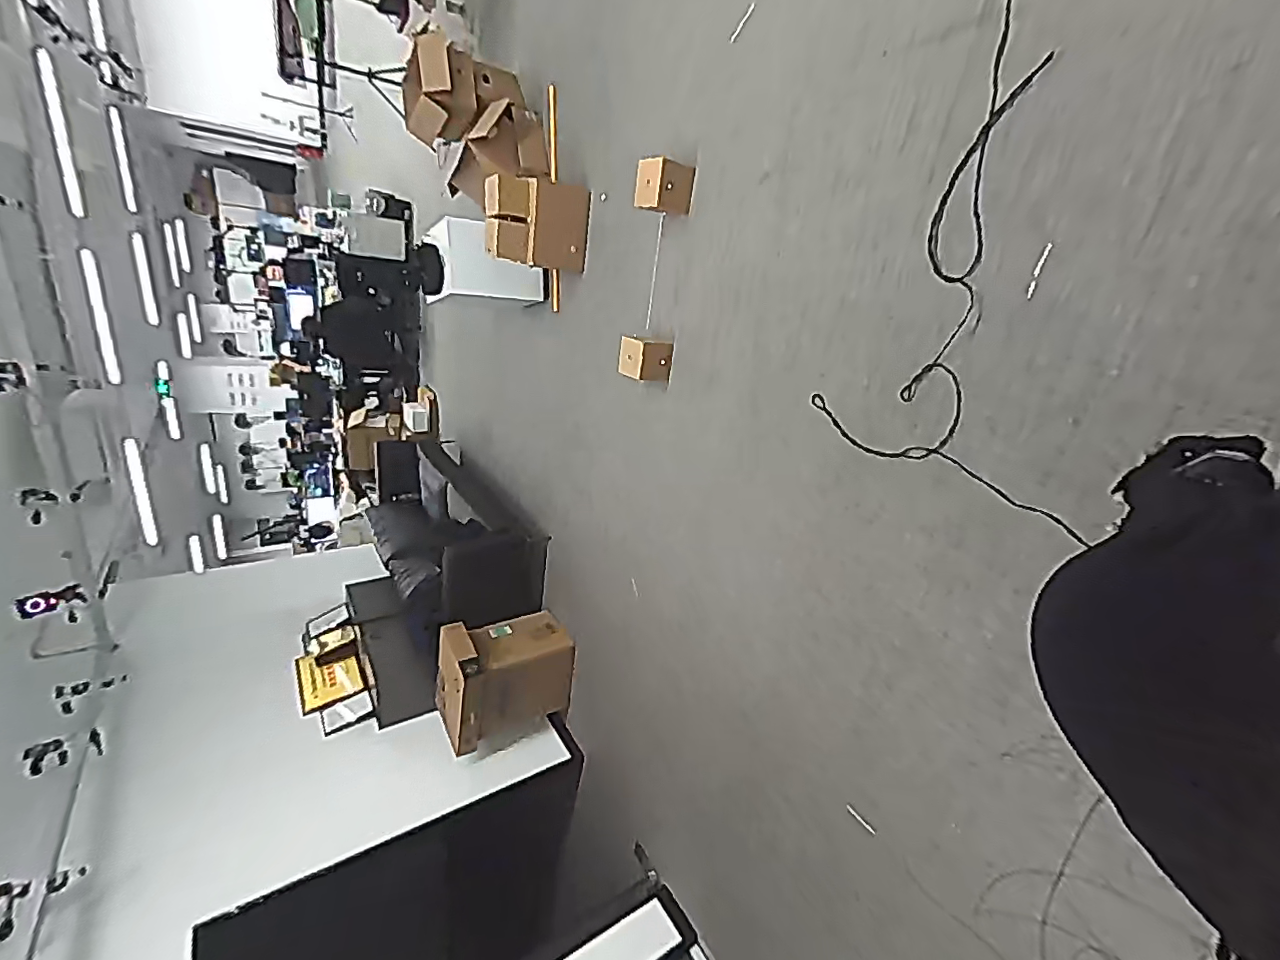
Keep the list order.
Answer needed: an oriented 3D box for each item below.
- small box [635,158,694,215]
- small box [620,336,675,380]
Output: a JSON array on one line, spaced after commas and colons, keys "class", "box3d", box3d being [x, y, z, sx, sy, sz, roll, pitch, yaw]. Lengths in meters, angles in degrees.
[{"class": "small box", "box3d": [0.101, -1.186, 2.191, 0.168, 0.176, 0.179, 32, 123, 48]}, {"class": "small box", "box3d": [0.032, -0.547, 2.427, 0.179, 0.176, 0.168, 32, 123, 48]}]
